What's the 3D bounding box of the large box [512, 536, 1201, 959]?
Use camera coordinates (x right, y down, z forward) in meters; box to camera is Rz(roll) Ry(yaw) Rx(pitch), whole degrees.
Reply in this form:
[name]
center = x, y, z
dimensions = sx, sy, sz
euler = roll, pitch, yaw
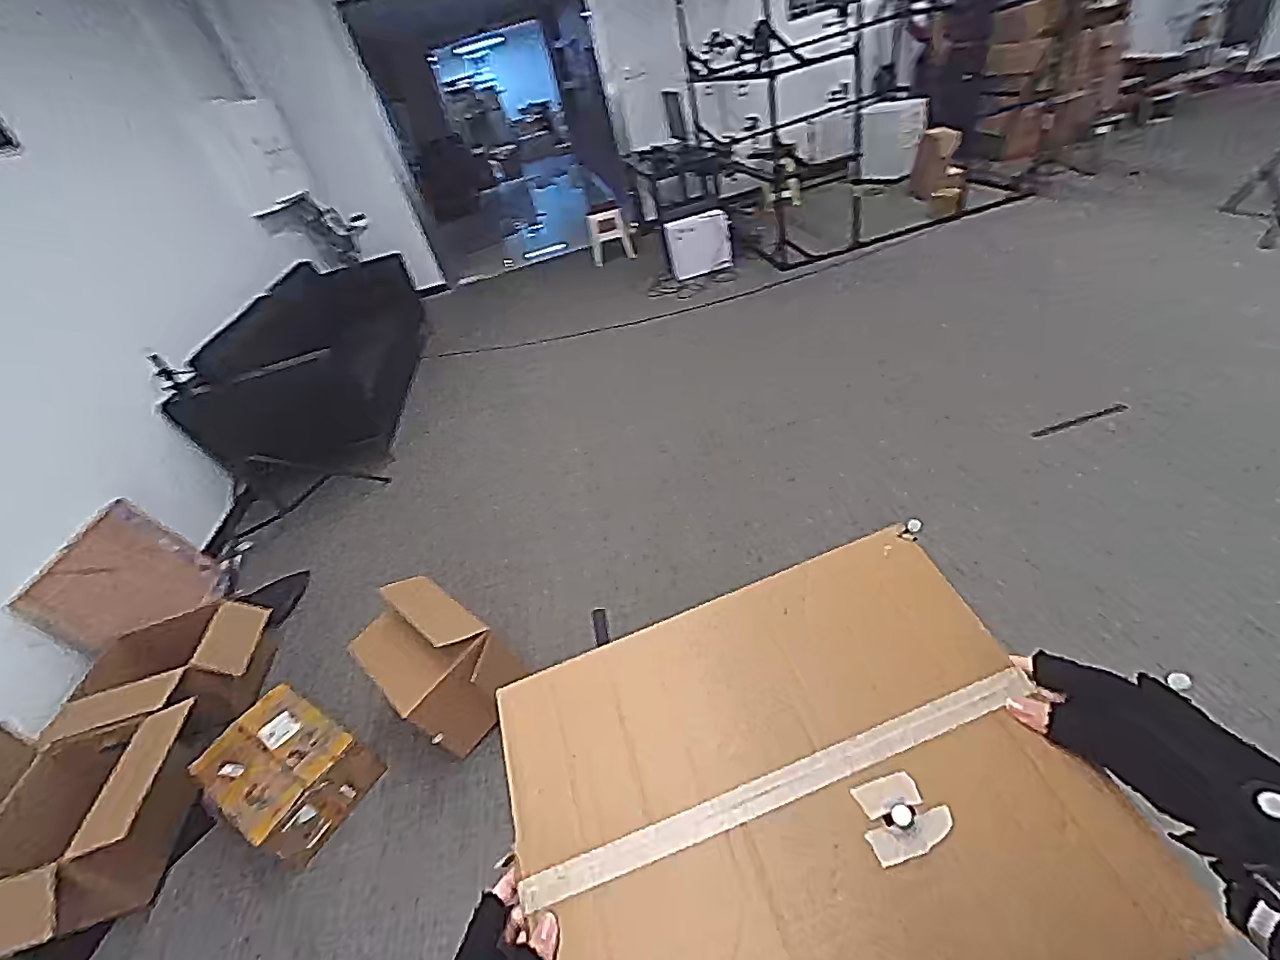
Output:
[large box]
center = 0.141, 0.325, 0.524
dimensions = 0.408, 0.320, 0.320
euler = -22, 51, -2
